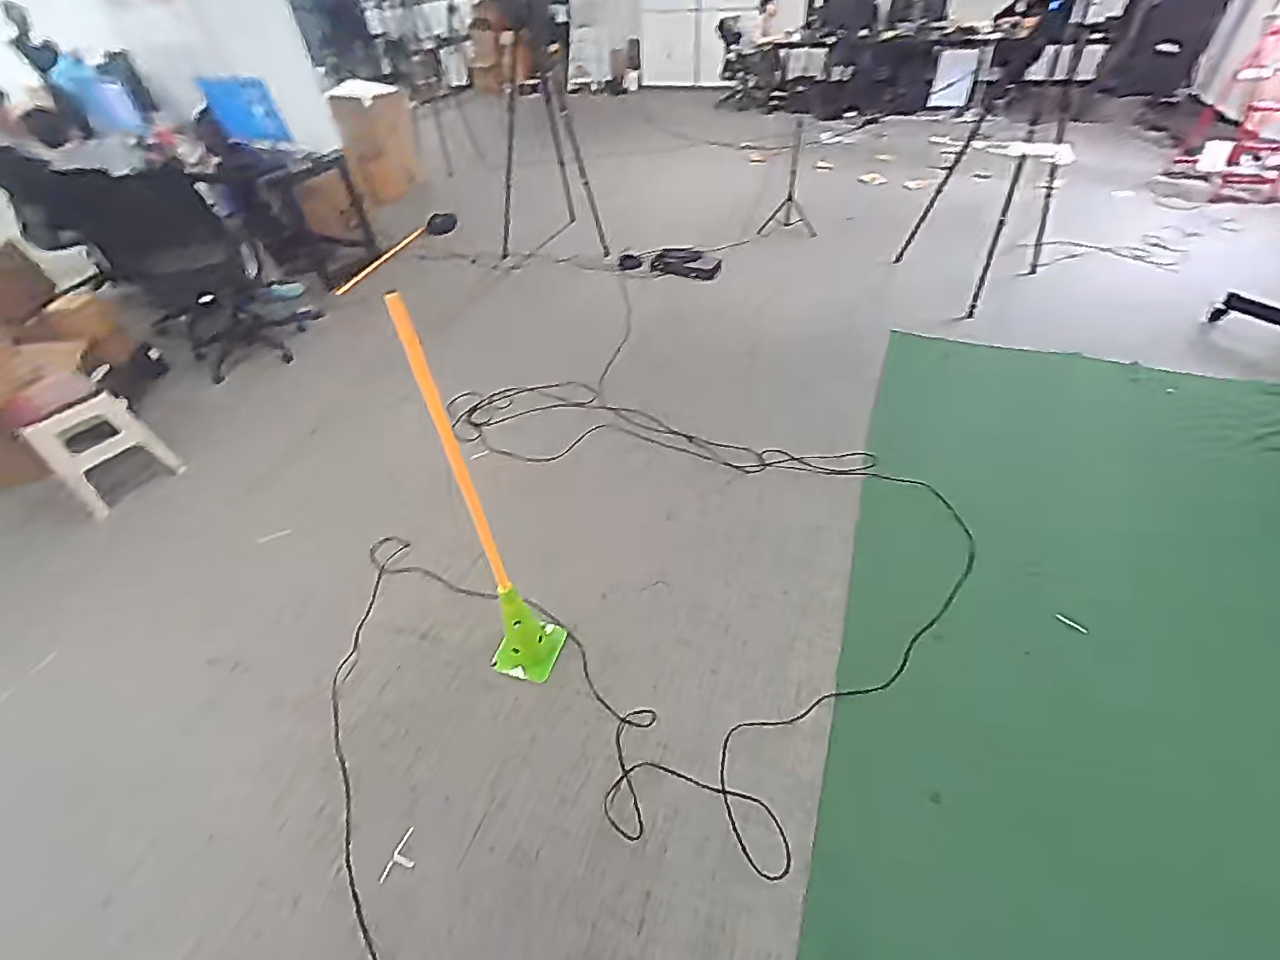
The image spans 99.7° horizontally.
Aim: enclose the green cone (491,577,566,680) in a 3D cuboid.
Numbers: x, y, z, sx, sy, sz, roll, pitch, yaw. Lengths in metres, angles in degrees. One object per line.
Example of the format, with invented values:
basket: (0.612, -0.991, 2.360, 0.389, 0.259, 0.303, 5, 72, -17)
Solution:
green cone: (-0.373, 0.425, 1.662, 0.200, 0.368, 0.202, 11, 45, 15)
